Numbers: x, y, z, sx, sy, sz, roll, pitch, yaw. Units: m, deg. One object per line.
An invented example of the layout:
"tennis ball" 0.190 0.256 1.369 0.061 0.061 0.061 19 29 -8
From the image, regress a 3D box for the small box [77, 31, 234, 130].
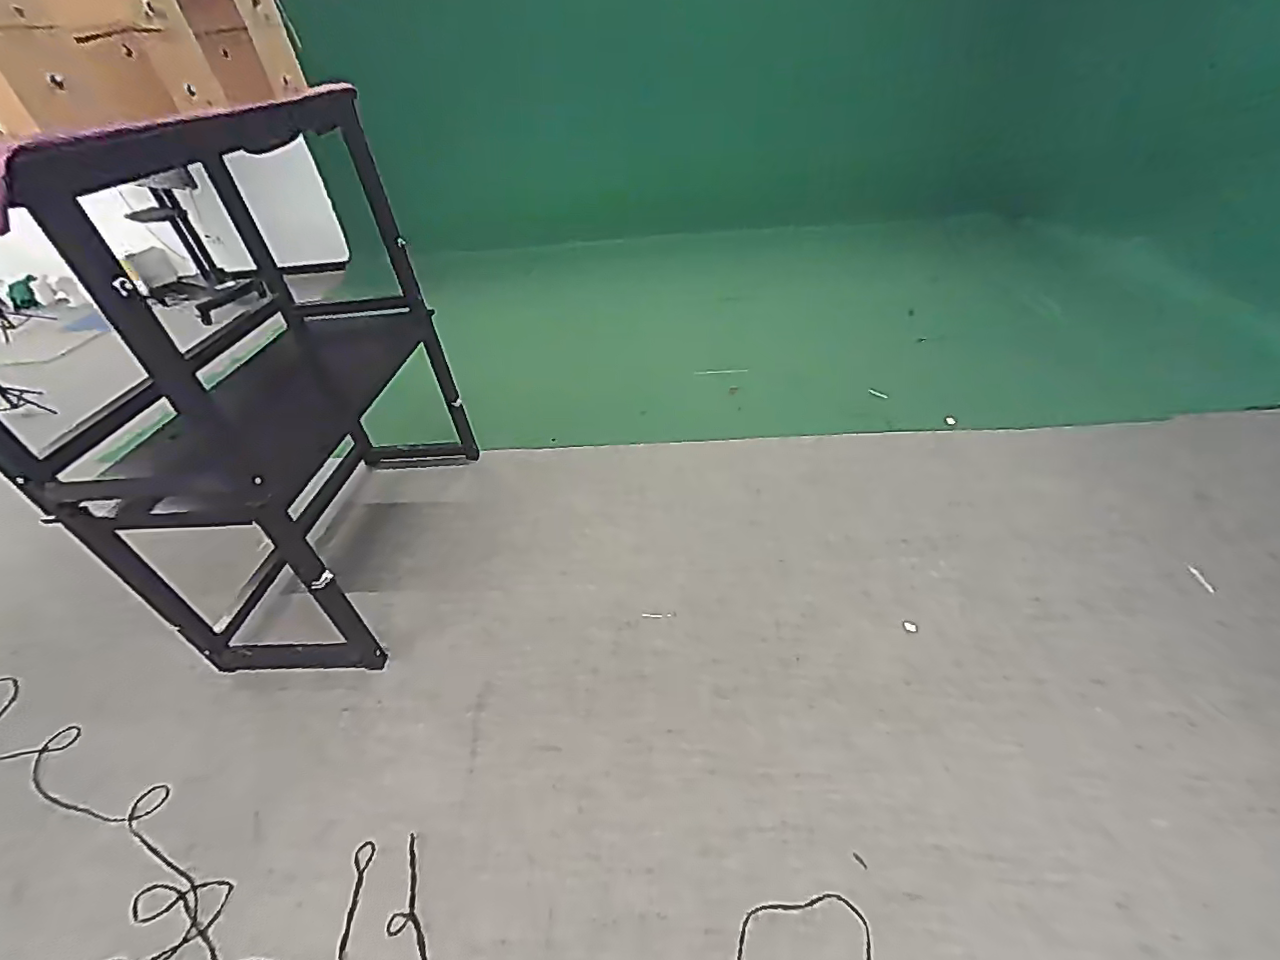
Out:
"small box" -1.128 -0.940 1.275 0.179 0.176 0.168 -1 40 9

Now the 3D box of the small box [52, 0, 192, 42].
"small box" -1.143 -1.060 1.167 0.179 0.176 0.168 -3 41 5

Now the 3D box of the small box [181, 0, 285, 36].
"small box" -1.120 -1.317 1.462 0.179 0.176 0.168 1 42 9

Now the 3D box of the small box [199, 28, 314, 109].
"small box" -1.102 -1.191 1.567 0.179 0.176 0.168 1 41 9

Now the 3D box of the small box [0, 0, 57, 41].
"small box" -1.164 -0.839 0.899 0.179 0.176 0.168 -3 40 7
